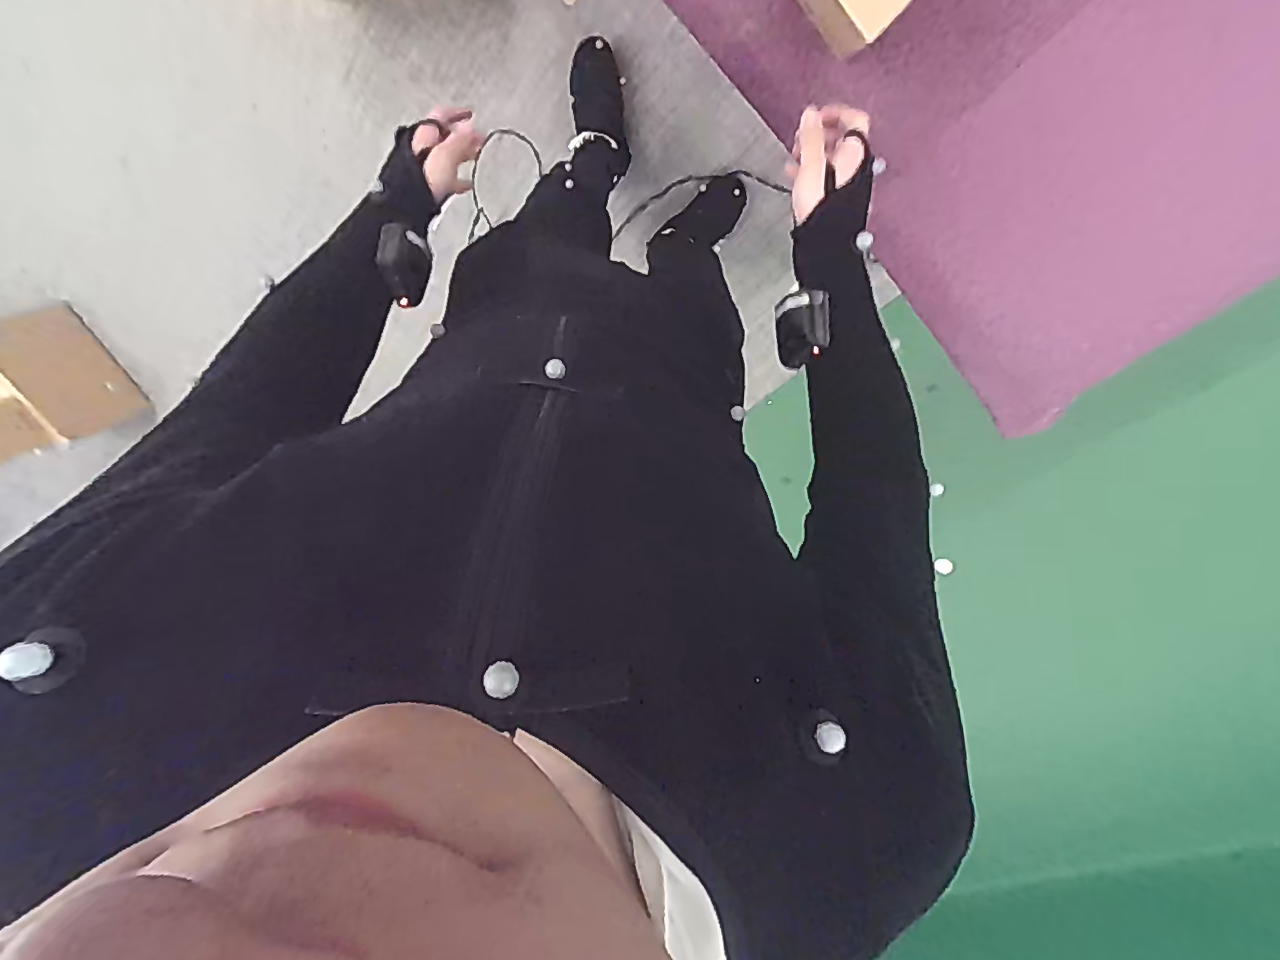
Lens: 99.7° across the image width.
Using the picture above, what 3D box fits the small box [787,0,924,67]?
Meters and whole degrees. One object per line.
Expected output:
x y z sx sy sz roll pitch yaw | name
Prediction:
0.204 -0.493 0.451 0.168 0.176 0.179 43 121 -16 | small box
